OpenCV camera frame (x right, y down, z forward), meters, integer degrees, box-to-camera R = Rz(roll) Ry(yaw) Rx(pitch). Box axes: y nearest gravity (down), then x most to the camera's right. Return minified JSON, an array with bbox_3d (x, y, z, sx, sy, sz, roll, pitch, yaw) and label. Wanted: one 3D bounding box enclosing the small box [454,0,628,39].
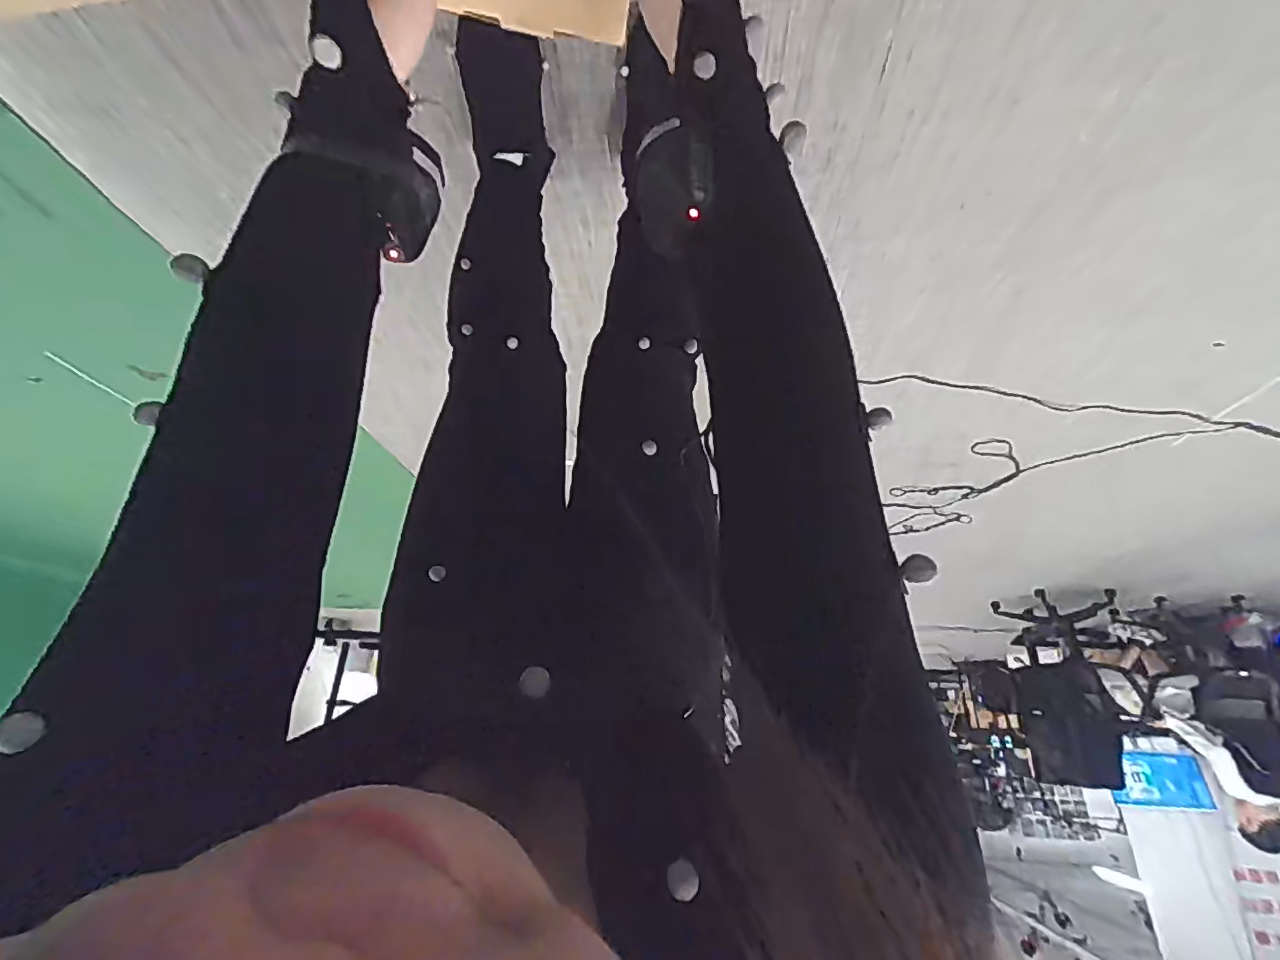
[{"bbox_3d":[-0.073,-0.483,0.394,0.168,0.176,0.179,6,156,-8],"label":"small box"}]
